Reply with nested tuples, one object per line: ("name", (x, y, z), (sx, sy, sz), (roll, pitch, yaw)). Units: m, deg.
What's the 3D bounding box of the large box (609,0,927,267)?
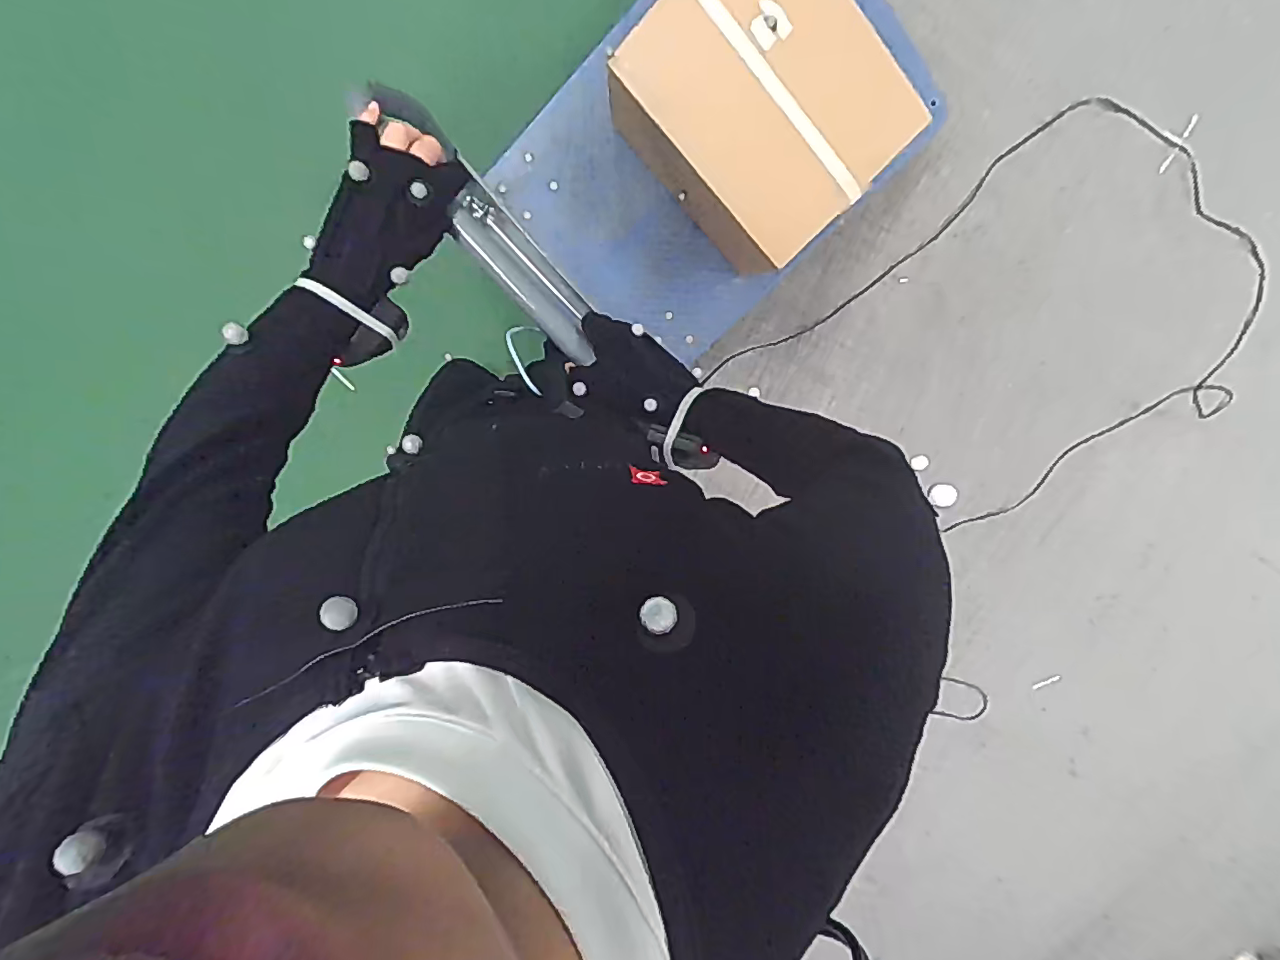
("large box", (0.199, -0.641, 0.960), (0.320, 0.320, 0.408), (-43, 105, 12))
